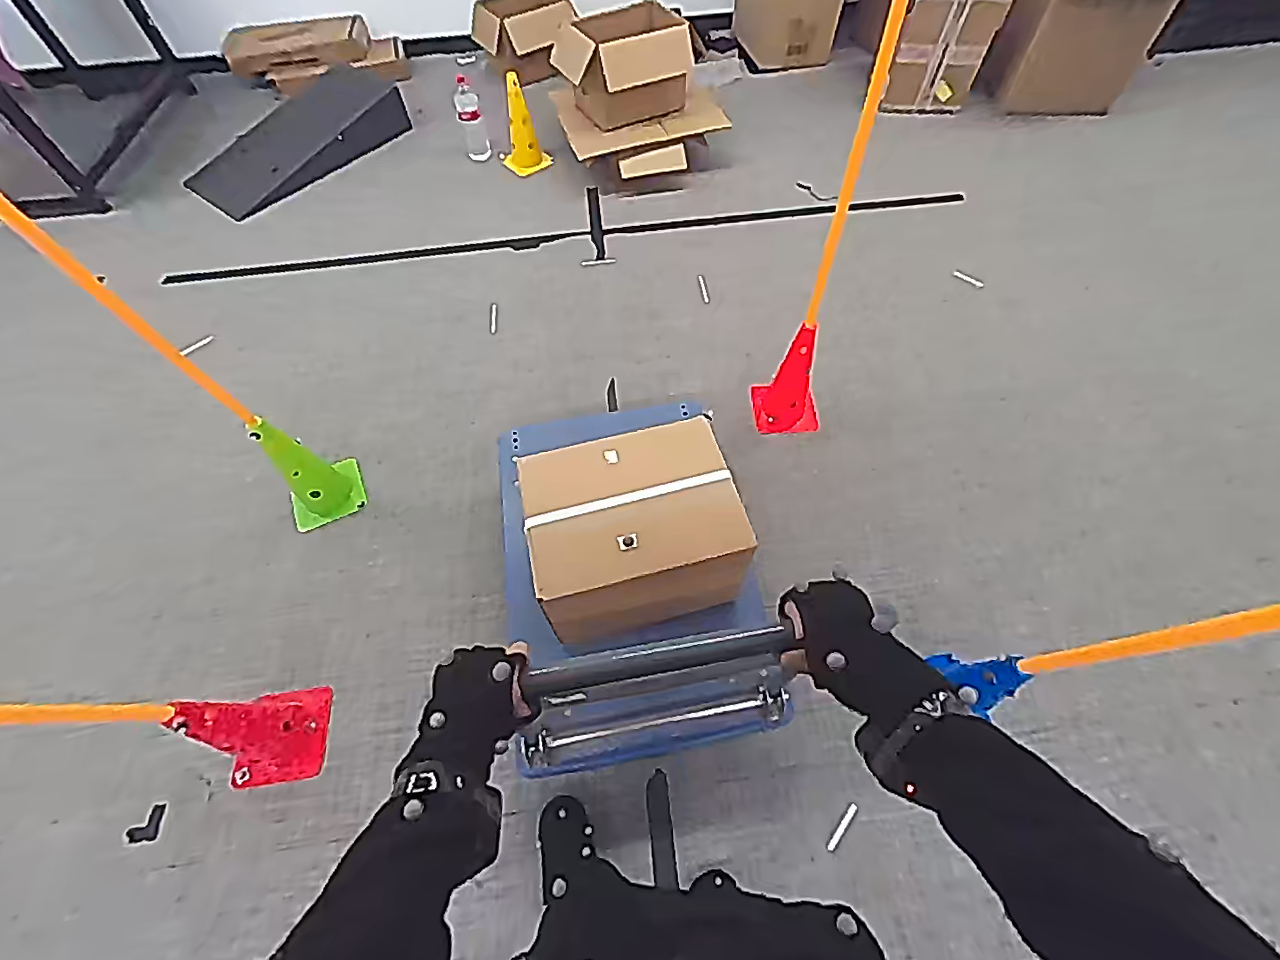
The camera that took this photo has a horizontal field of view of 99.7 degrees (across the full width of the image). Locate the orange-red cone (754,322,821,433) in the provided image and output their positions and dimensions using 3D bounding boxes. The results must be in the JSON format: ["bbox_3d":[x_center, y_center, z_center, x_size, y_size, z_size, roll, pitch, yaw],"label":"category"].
[{"bbox_3d":[0.471,-0.320,1.597,0.199,0.360,0.198,0,59,0],"label":"orange-red cone"}]
